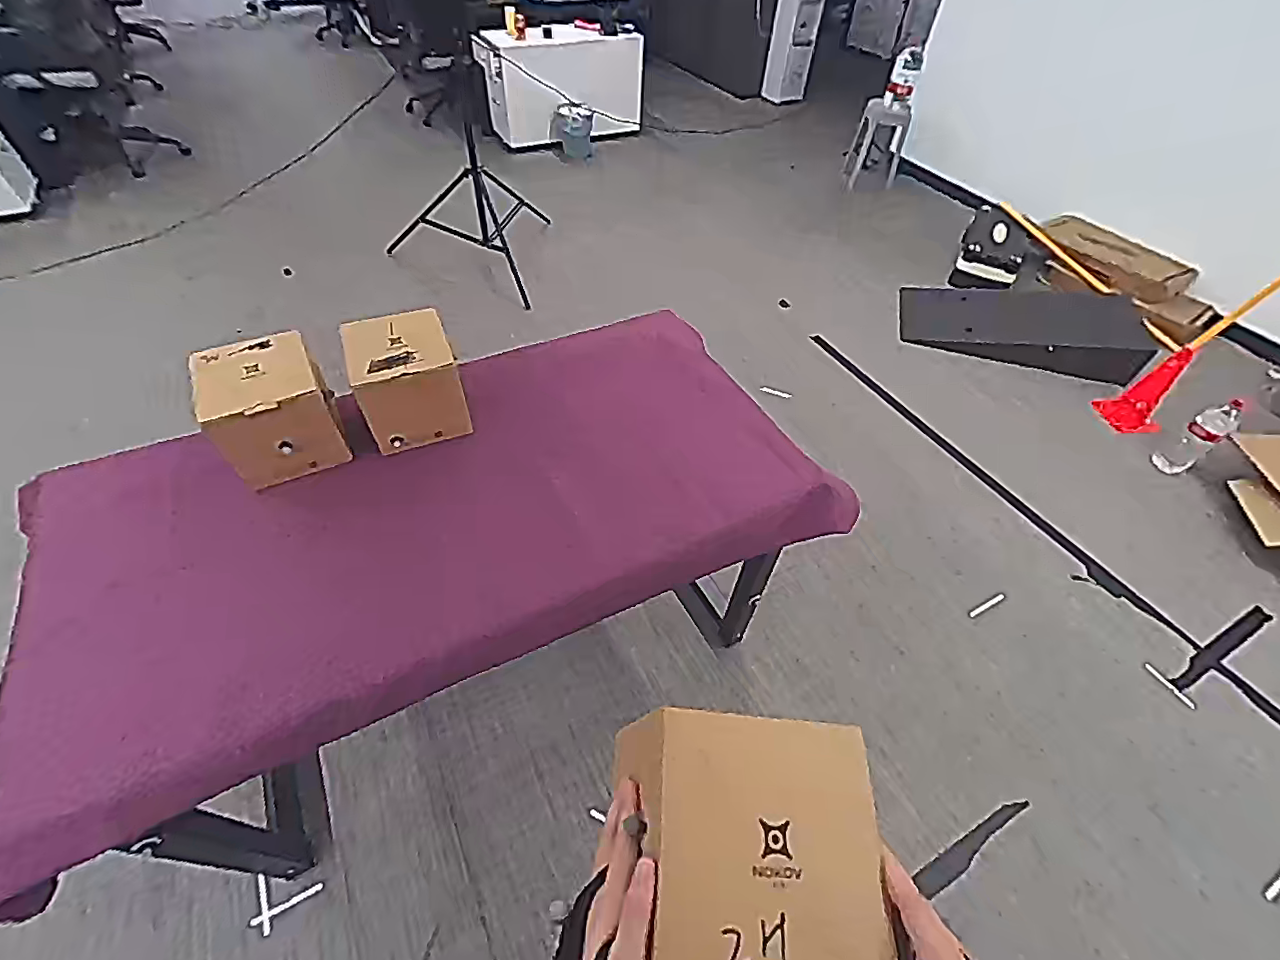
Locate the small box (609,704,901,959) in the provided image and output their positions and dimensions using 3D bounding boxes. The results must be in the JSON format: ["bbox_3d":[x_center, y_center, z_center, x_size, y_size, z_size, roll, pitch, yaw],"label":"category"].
[{"bbox_3d":[0.075,0.296,0.435,0.168,0.176,0.179,11,57,-9],"label":"small box"}]

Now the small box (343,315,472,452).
[{"bbox_3d":[-0.419,-0.170,0.988,0.168,0.176,0.179,-17,54,-18],"label":"small box"}]
